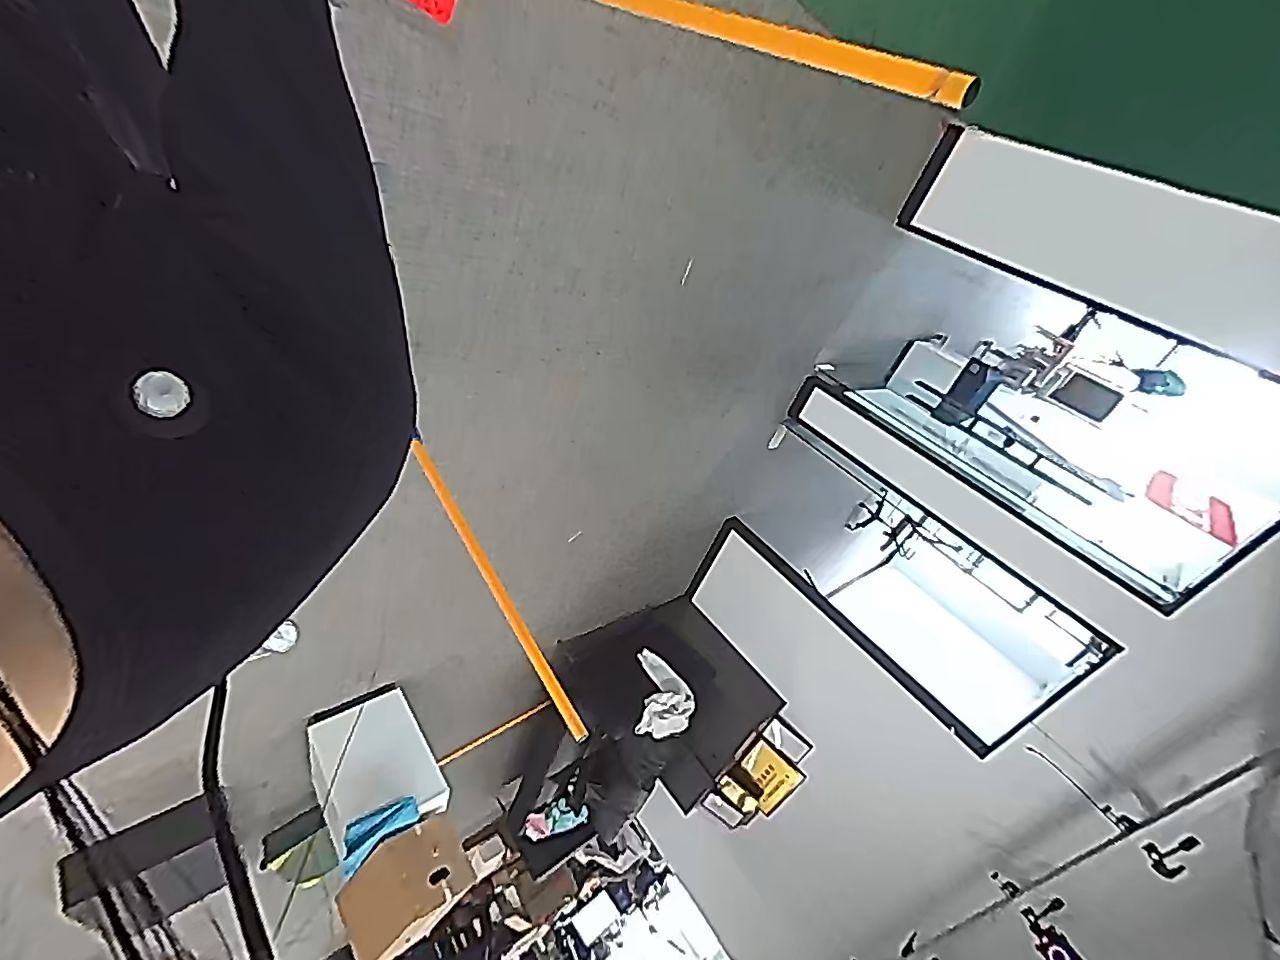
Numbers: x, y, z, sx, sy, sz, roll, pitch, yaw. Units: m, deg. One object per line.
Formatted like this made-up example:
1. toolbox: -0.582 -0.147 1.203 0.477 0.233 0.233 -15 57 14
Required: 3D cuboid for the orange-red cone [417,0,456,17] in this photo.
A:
1. orange-red cone: -0.336 -0.976 0.988 0.198 0.360 0.199 3 126 -50
